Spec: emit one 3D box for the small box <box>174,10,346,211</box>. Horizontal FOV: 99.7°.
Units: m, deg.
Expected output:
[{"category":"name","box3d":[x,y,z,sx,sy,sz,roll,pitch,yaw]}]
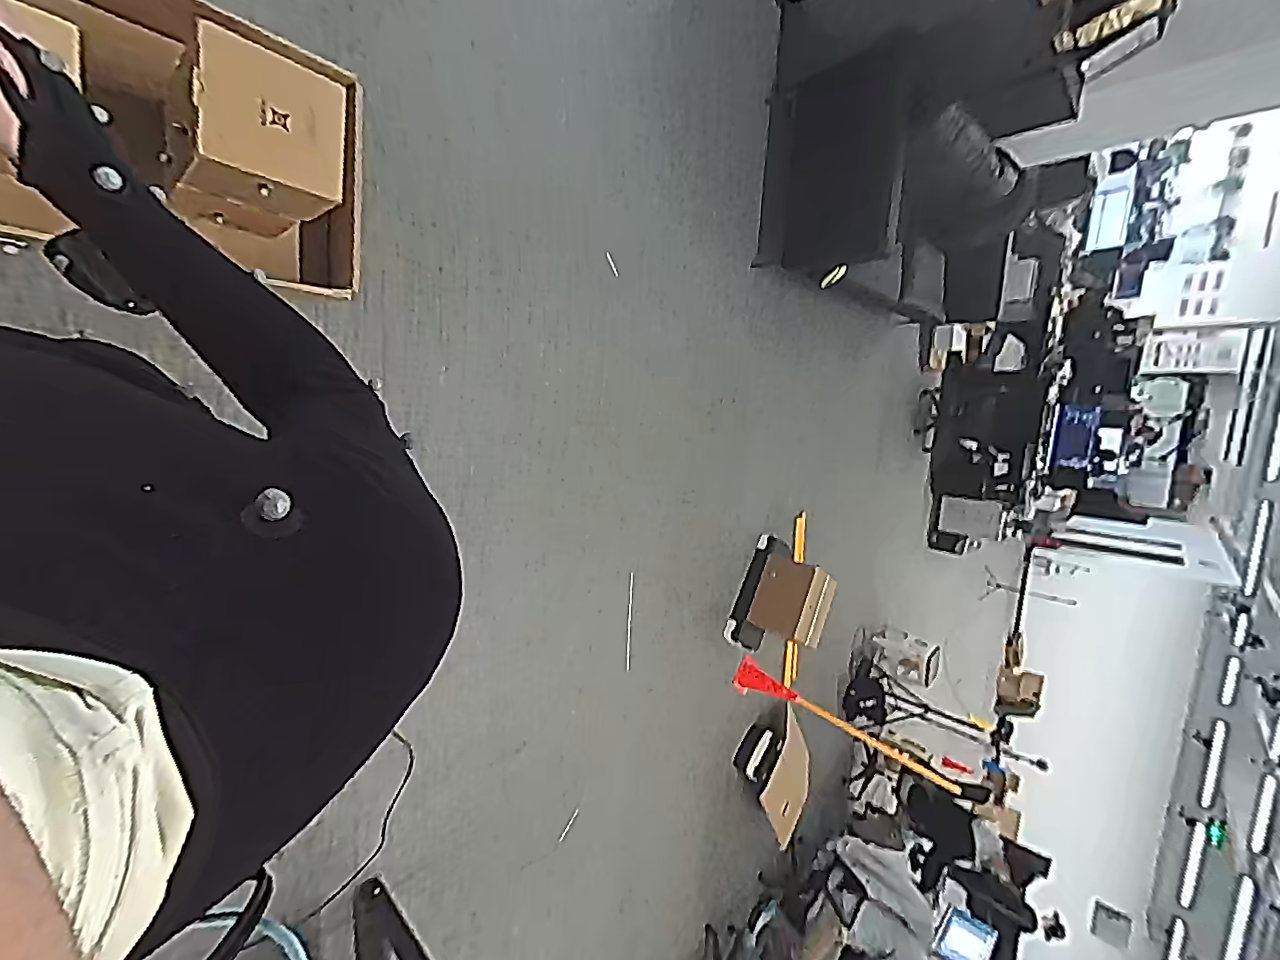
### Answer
[{"category":"small box","box3d":[-0.558,-0.515,0.792,0.179,0.176,0.168,-1,99,-48]}]
